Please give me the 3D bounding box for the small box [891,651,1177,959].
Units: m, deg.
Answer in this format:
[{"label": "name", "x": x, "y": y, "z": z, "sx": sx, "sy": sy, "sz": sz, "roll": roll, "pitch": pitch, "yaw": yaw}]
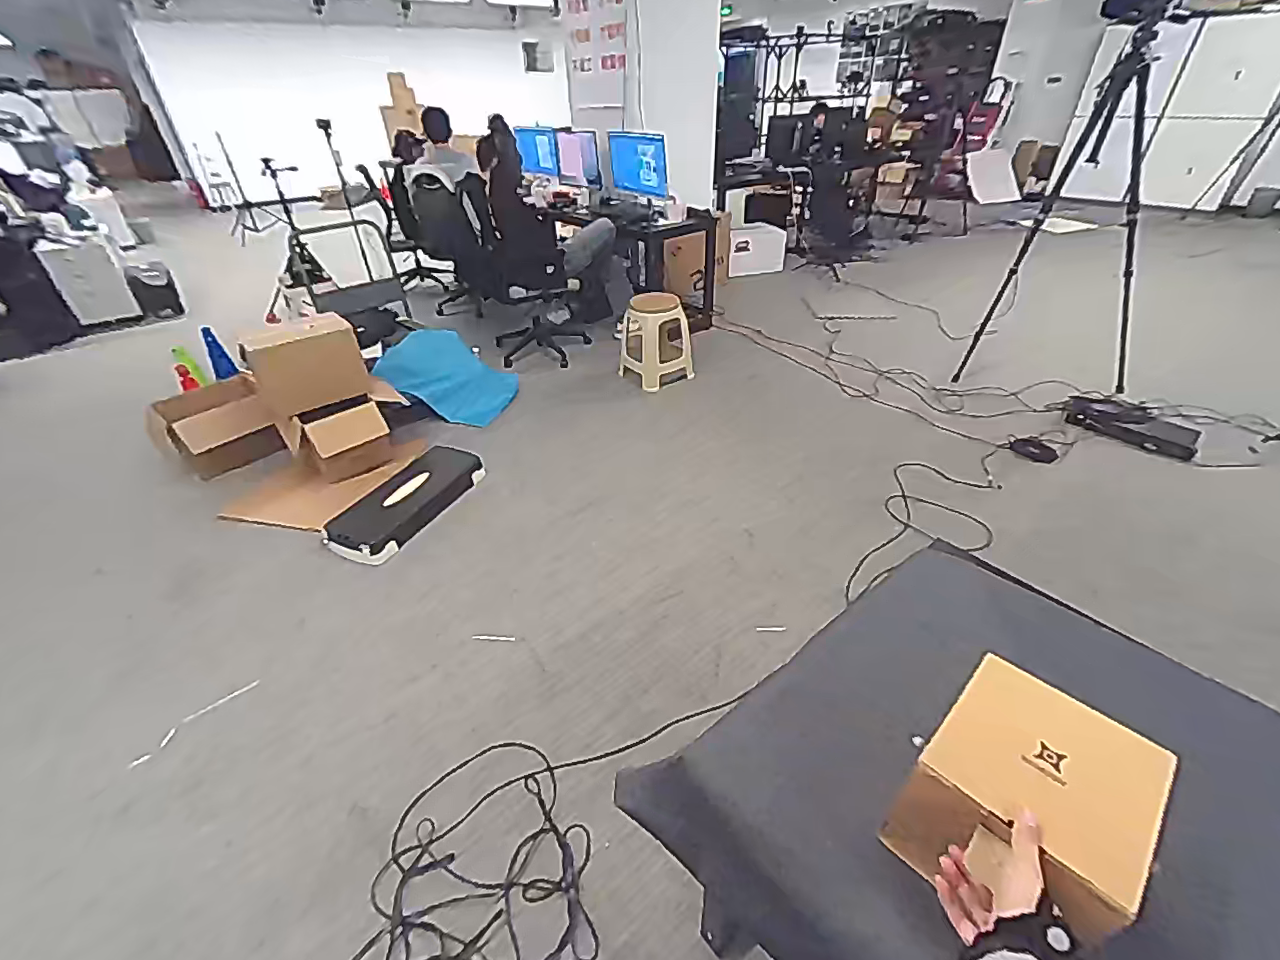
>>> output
[{"label": "small box", "x": 0.381, "y": 0.320, "z": 0.547, "sx": 0.179, "sy": 0.176, "sz": 0.168, "roll": -31, "pitch": 45, "yaw": -33}]
